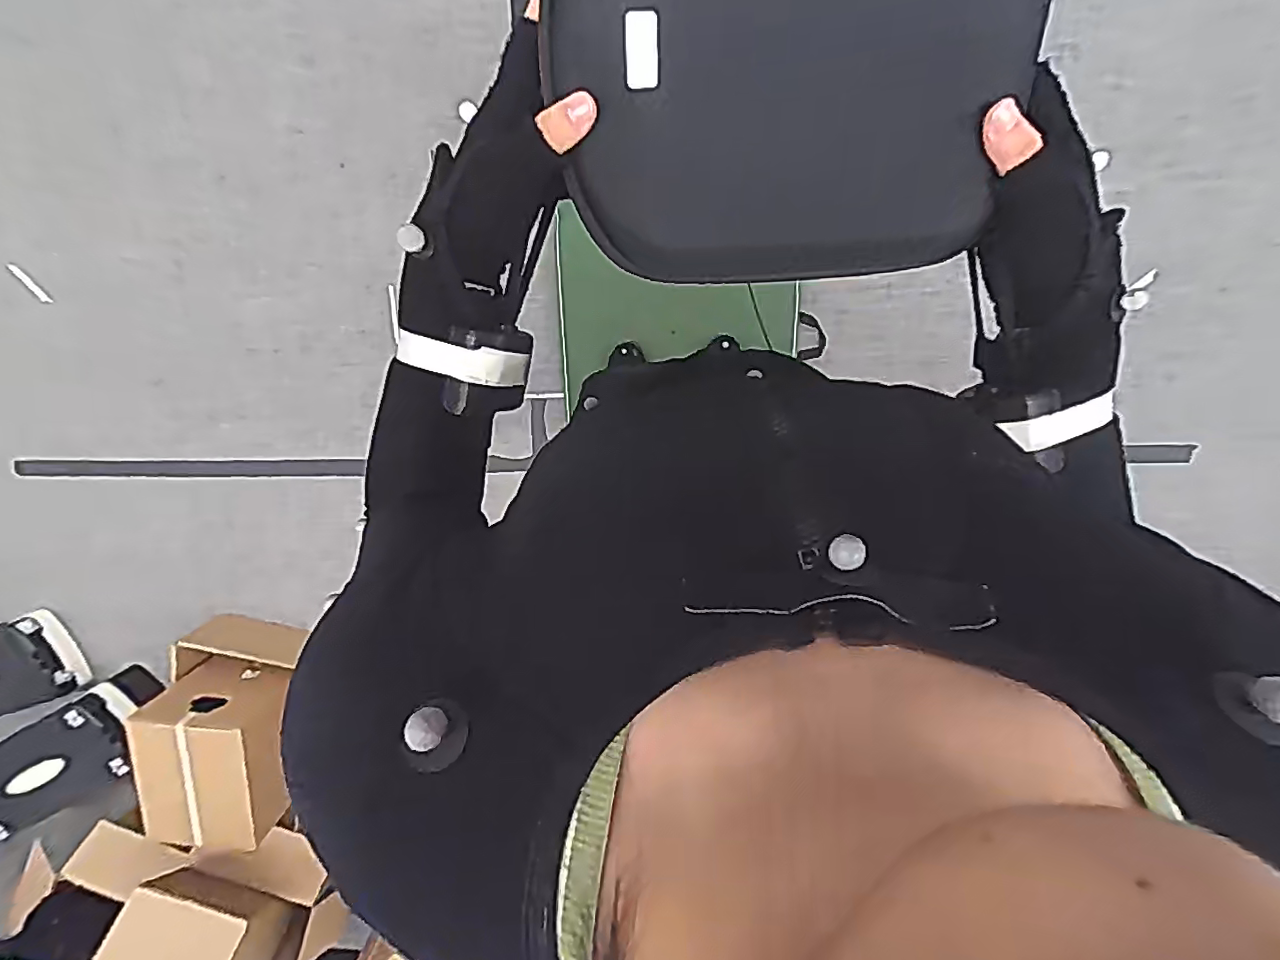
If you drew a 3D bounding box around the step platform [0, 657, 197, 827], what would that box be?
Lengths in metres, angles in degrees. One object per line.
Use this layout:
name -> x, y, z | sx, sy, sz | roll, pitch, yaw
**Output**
step platform -> -1.849, 0.862, 1.774 | 0.684, 0.204, 0.286 | -29, 102, 9
